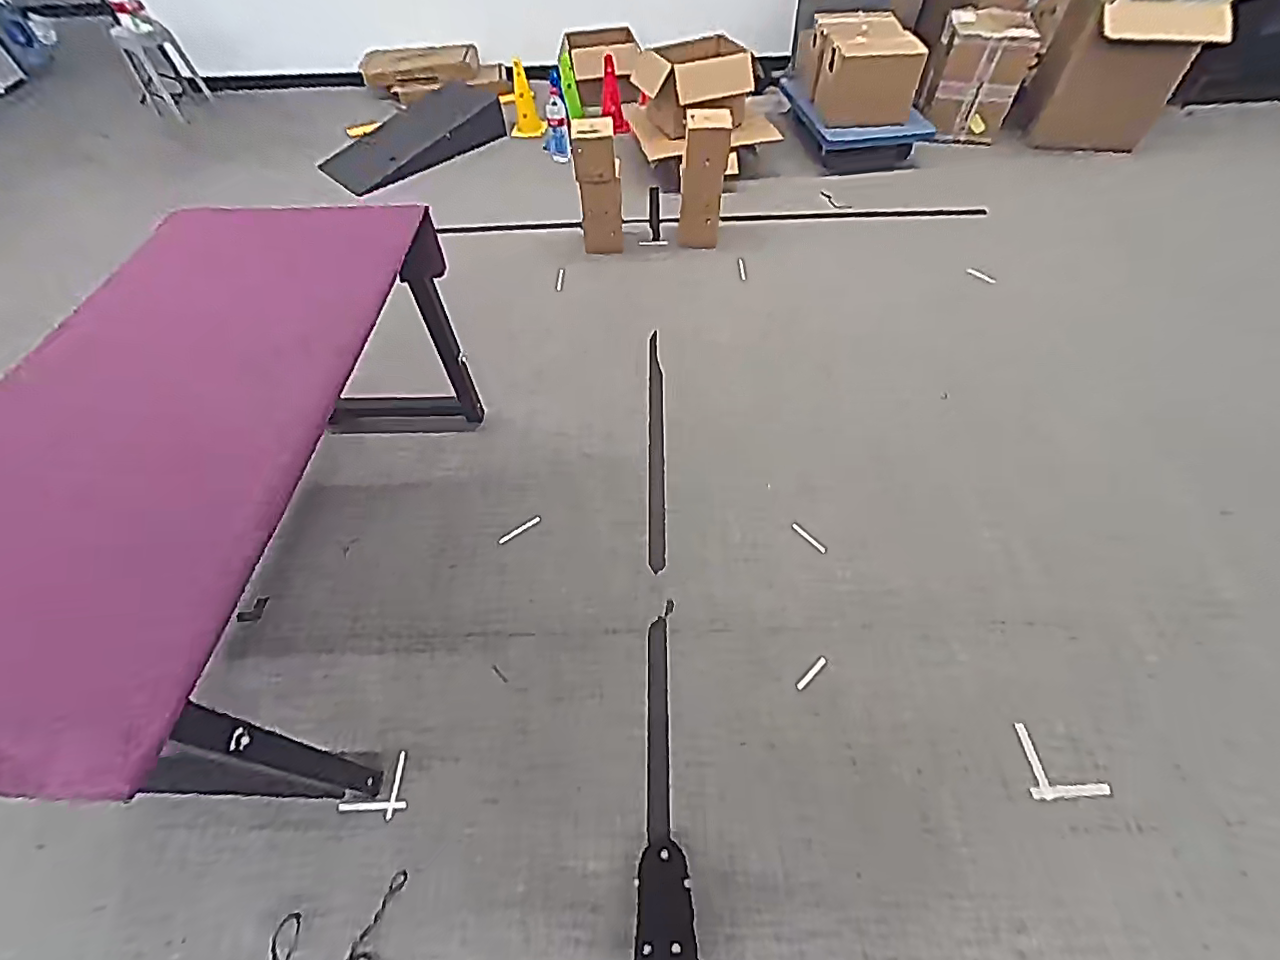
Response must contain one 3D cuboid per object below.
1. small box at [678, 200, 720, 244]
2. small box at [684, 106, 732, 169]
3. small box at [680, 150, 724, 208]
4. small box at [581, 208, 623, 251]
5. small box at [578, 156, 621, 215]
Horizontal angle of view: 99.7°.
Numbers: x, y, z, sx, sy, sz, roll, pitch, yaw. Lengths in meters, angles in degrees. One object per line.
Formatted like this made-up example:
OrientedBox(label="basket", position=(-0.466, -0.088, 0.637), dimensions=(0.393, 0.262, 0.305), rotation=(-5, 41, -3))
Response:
OrientedBox(label="small box", position=(0.267, -1.194, 2.458), dimensions=(0.179, 0.176, 0.168), rotation=(3, 54, 3))
OrientedBox(label="small box", position=(0.272, -1.386, 2.194), dimensions=(0.179, 0.176, 0.168), rotation=(2, 56, 1))
OrientedBox(label="small box", position=(0.264, -1.298, 2.333), dimensions=(0.168, 0.176, 0.179), rotation=(0, 55, 0))
OrientedBox(label="small box", position=(-0.169, -1.162, 2.449), dimensions=(0.179, 0.176, 0.168), rotation=(-4, 54, 0))
OrientedBox(label="small box", position=(-0.167, -1.258, 2.316), dimensions=(0.168, 0.176, 0.179), rotation=(-1, 53, 1))
